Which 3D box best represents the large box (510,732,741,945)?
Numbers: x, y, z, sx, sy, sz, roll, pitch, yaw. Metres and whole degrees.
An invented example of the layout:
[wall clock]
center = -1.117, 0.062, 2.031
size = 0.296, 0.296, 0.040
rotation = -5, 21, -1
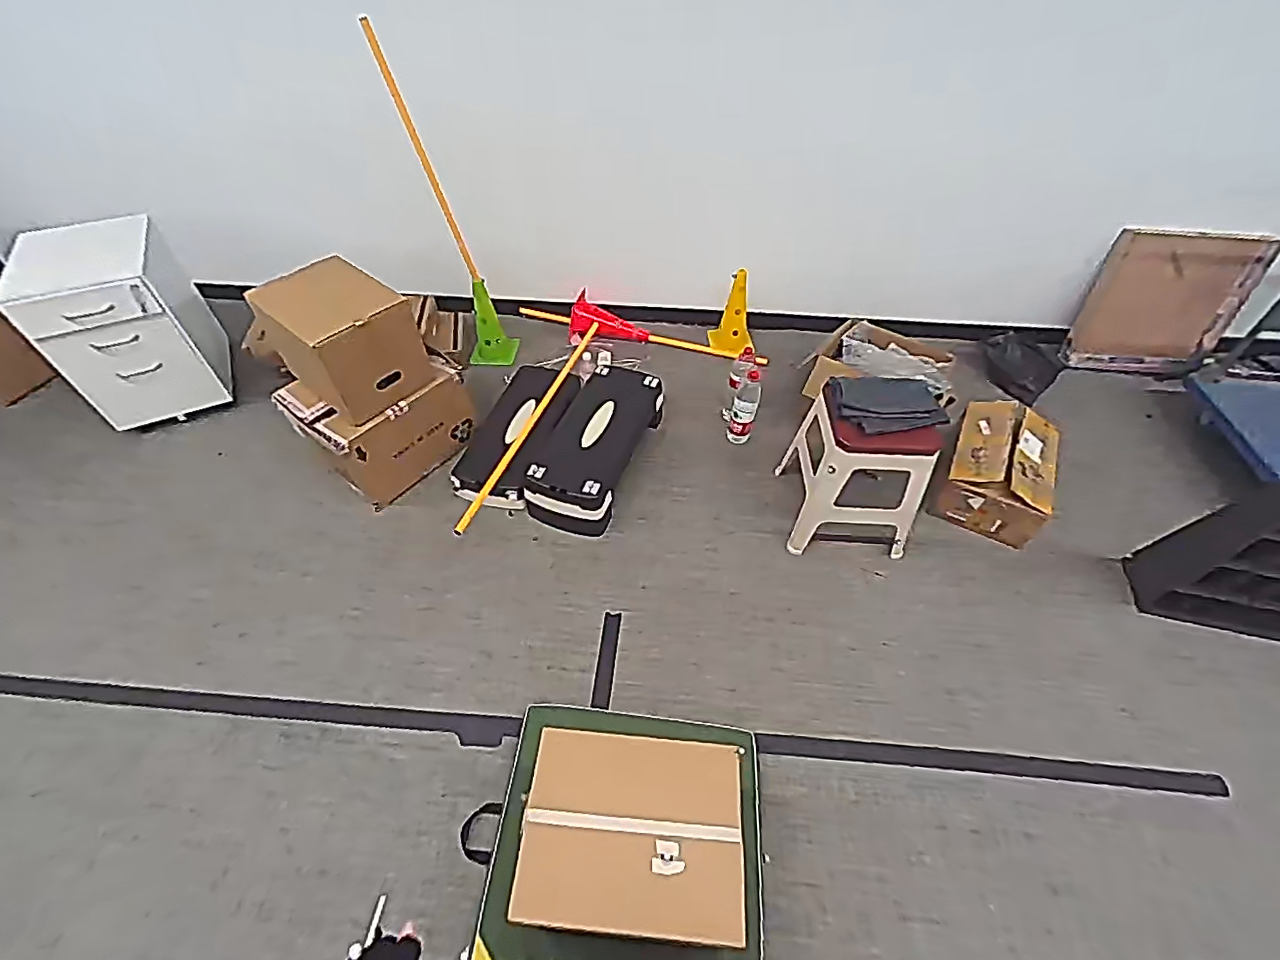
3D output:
[large box]
center = -0.023, 0.748, 1.125
size = 0.408, 0.320, 0.320
rotation = 5, 49, 2
